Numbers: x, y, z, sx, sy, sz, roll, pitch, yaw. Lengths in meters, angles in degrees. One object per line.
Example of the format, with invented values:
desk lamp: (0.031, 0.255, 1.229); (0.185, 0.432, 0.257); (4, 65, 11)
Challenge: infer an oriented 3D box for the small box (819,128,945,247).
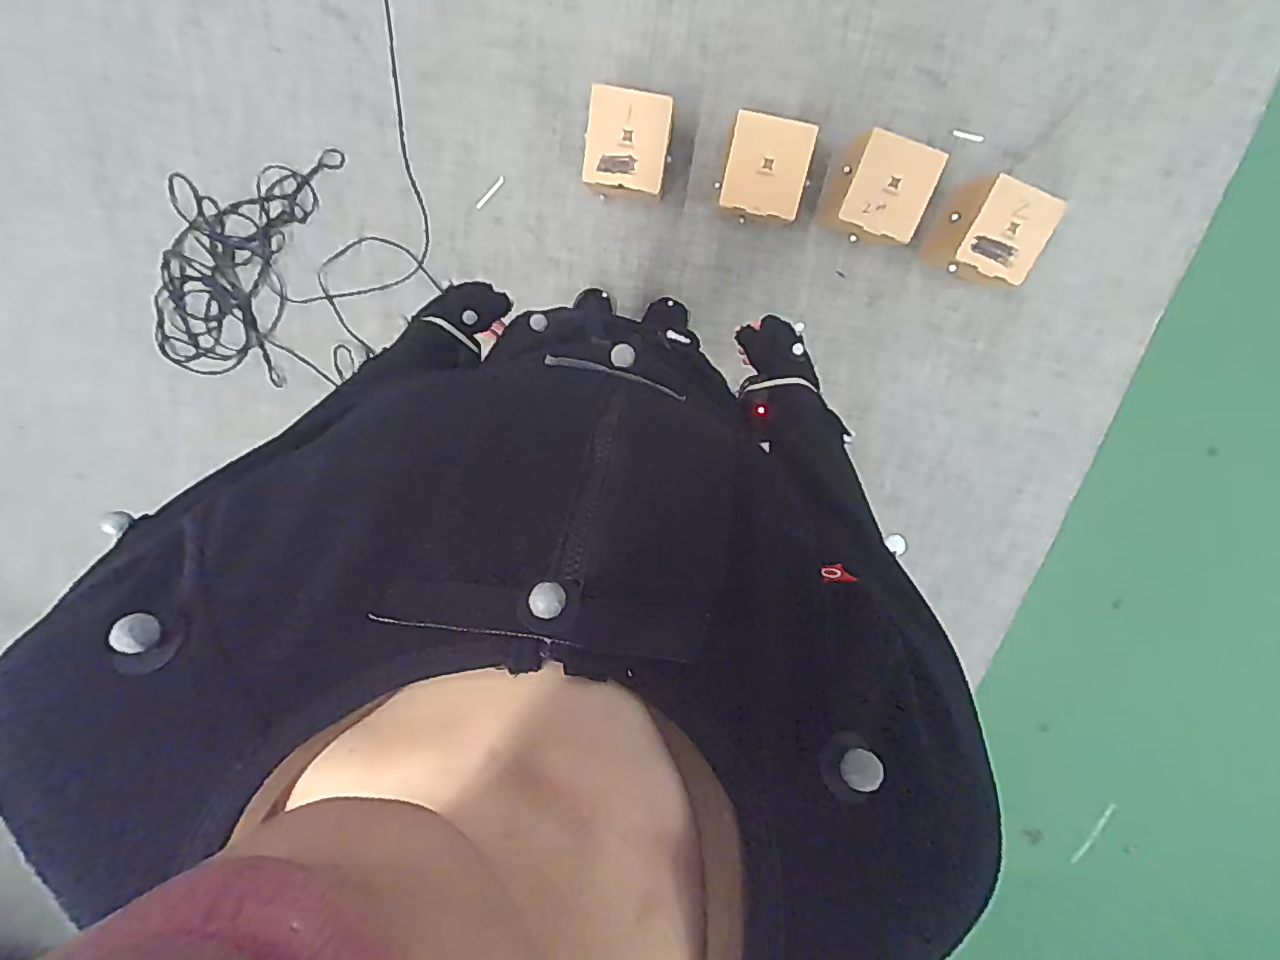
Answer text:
small box: (0.512, -0.624, 1.177); (0.168, 0.176, 0.179); (18, 111, -4)

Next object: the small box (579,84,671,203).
small box: (-0.028, -0.710, 1.164); (0.168, 0.176, 0.179); (9, 110, -2)

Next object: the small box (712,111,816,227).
small box: (0.258, -0.663, 1.173); (0.168, 0.176, 0.179); (10, 111, -2)
